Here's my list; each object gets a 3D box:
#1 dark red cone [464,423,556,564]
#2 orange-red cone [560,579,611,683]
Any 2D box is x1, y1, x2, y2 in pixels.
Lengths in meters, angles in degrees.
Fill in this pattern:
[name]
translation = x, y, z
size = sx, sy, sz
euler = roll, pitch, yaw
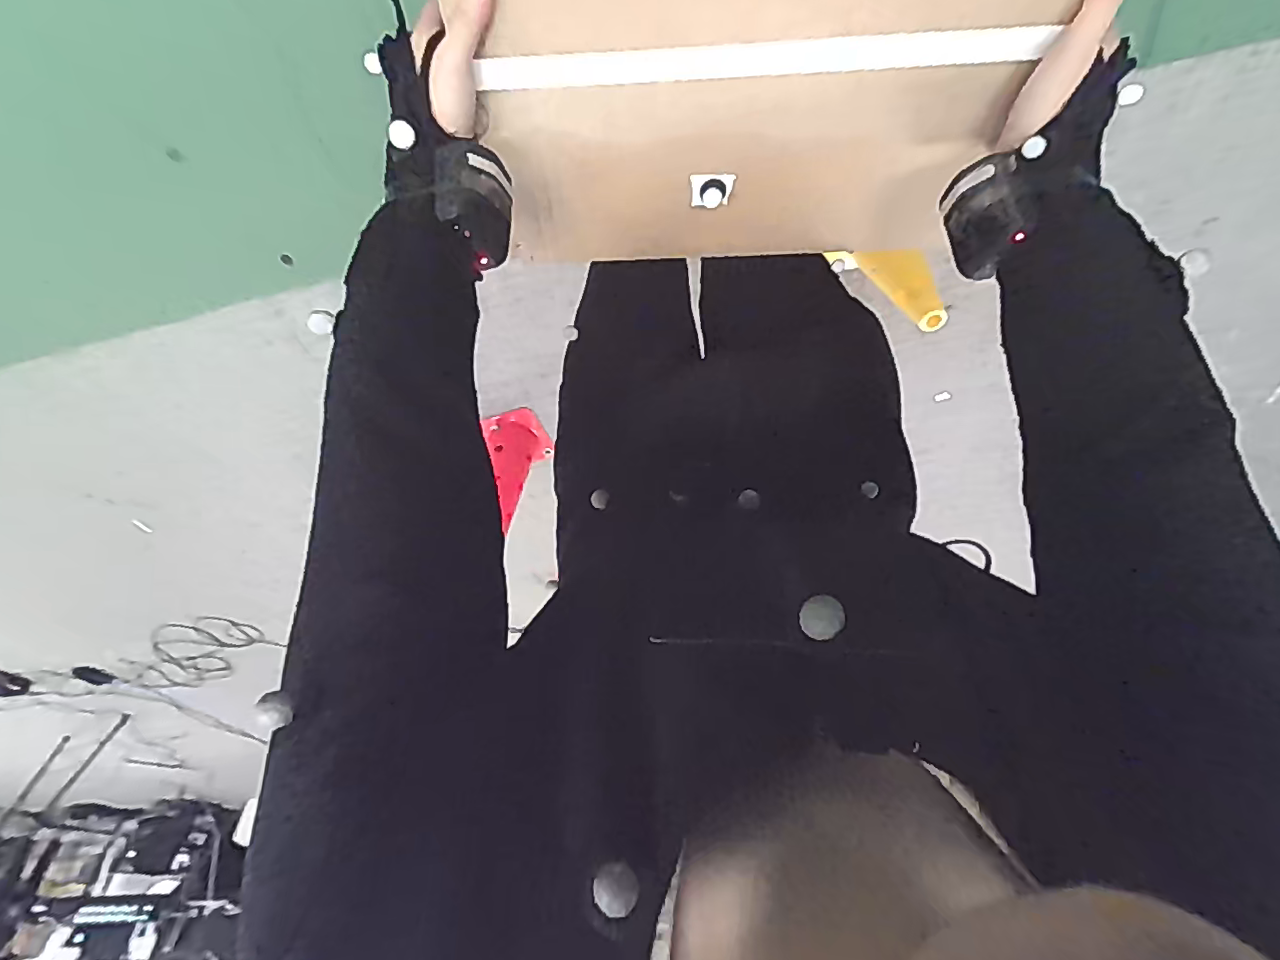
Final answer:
[dark red cone]
translation = -0.361, 0.046, 1.390
size = 0.202, 0.394, 0.201
euler = -15, 134, 16
[orange-red cone]
translation = -0.221, 0.576, 2.021
size = 0.199, 0.360, 0.198
euler = 5, 137, -4
